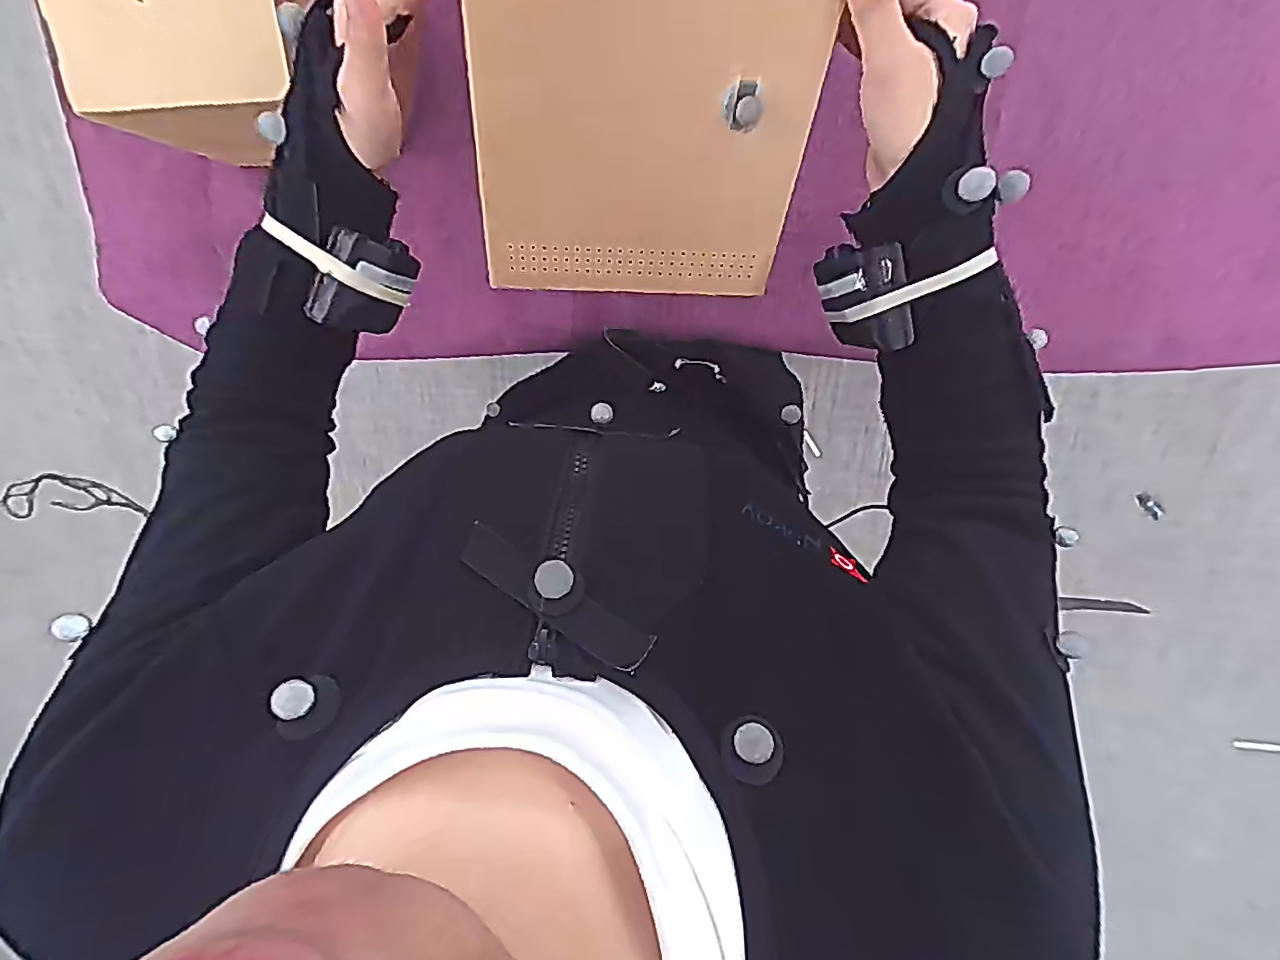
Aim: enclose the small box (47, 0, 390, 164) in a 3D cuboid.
[{"bbox_3d":[-0.332,-0.378,0.452,0.179,0.176,0.168,-1,107,3],"label":"small box"}]
